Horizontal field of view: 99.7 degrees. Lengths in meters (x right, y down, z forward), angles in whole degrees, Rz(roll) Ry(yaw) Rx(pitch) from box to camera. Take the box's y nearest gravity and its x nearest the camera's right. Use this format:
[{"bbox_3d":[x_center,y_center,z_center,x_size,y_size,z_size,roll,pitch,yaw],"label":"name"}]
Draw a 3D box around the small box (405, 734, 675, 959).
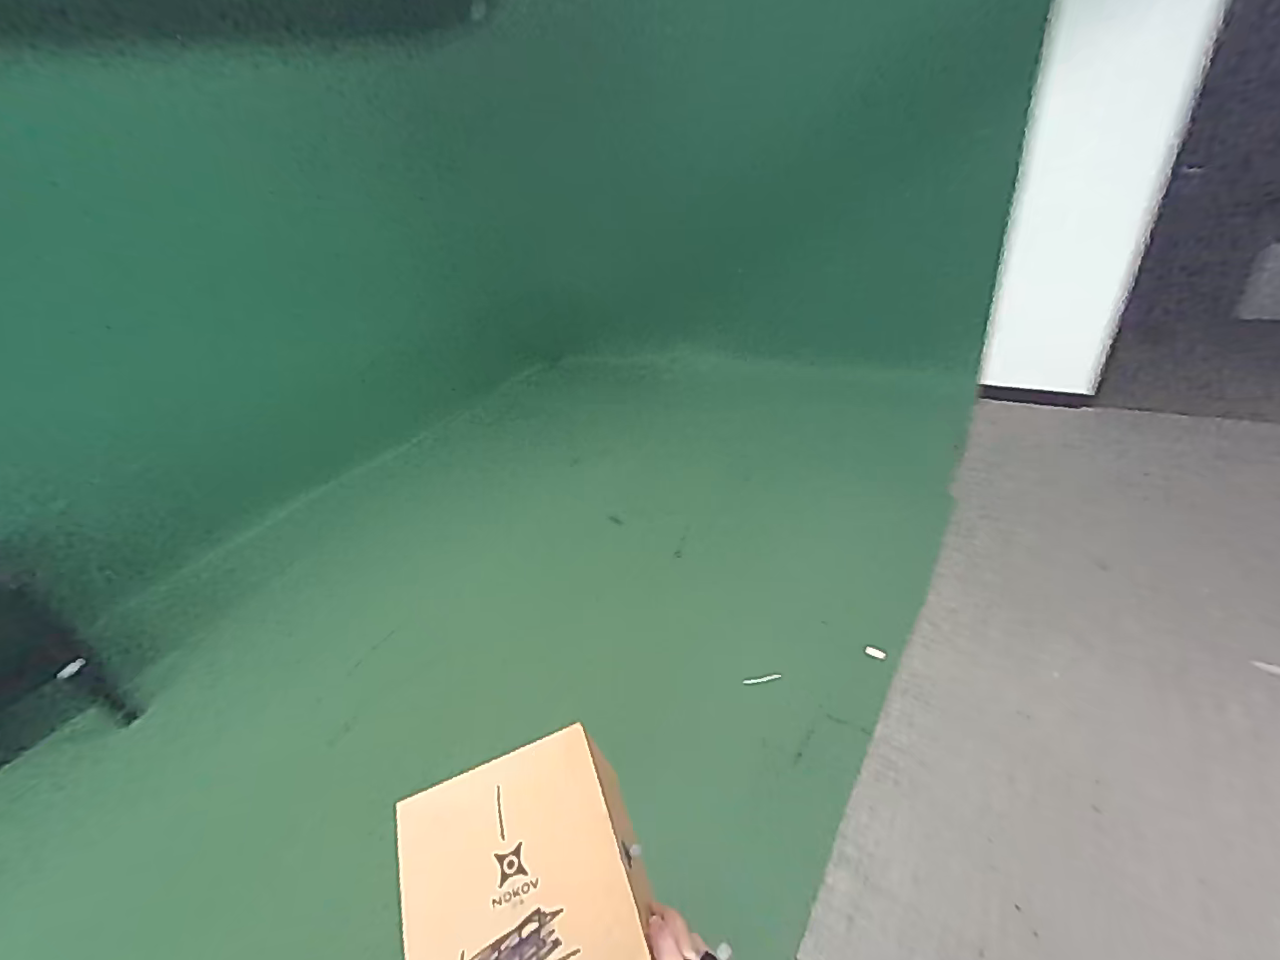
[{"bbox_3d":[-0.078,0.353,0.458,0.168,0.176,0.179,-20,48,-7],"label":"small box"}]
